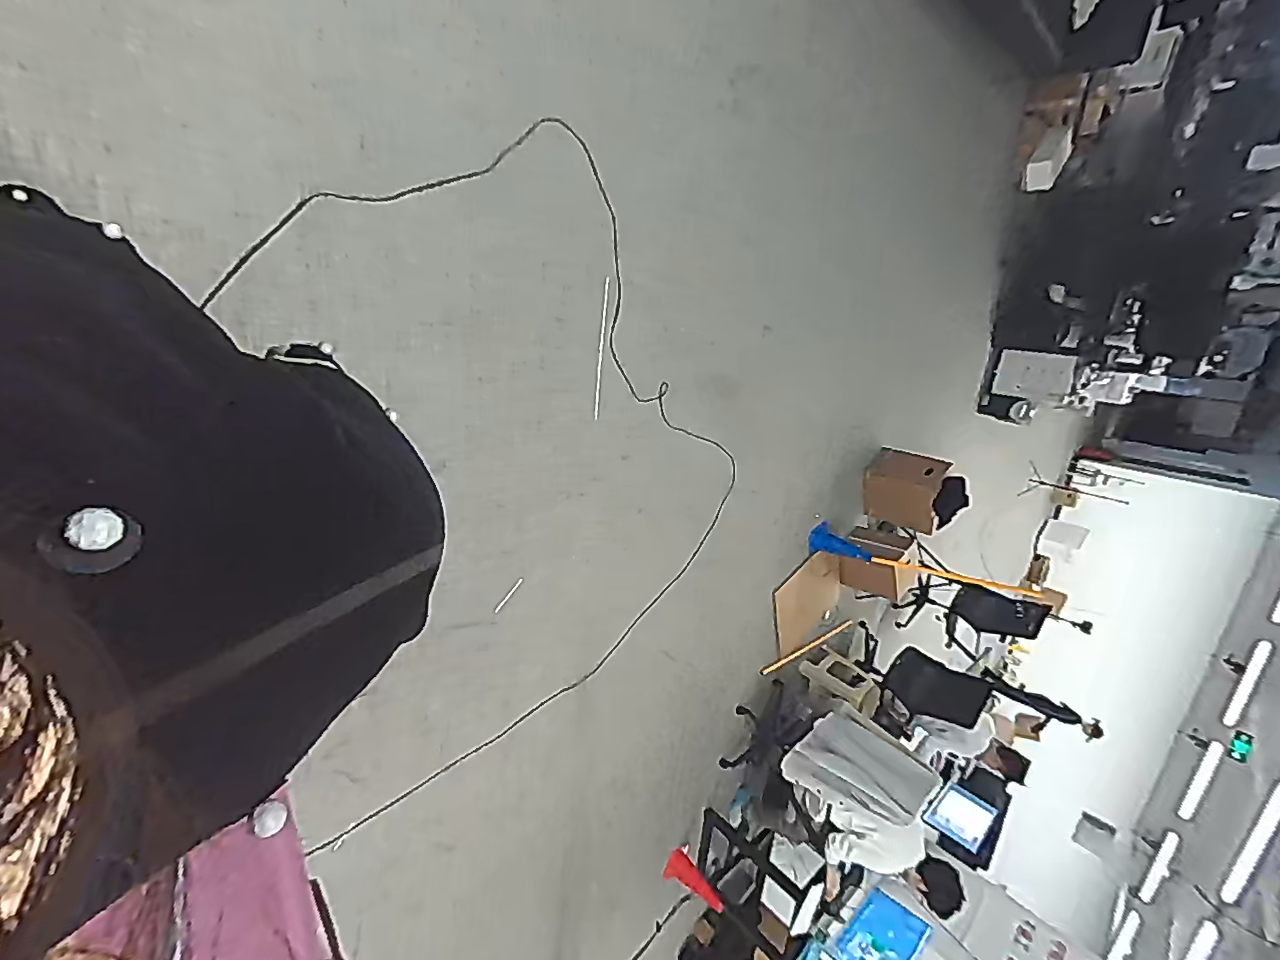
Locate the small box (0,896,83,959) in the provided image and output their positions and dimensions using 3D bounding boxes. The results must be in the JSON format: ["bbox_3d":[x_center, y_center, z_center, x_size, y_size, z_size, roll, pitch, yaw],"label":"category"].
[{"bbox_3d":[-0.712,0.605,0.569,0.168,0.176,0.179,-11,113,-42],"label":"small box"}]
